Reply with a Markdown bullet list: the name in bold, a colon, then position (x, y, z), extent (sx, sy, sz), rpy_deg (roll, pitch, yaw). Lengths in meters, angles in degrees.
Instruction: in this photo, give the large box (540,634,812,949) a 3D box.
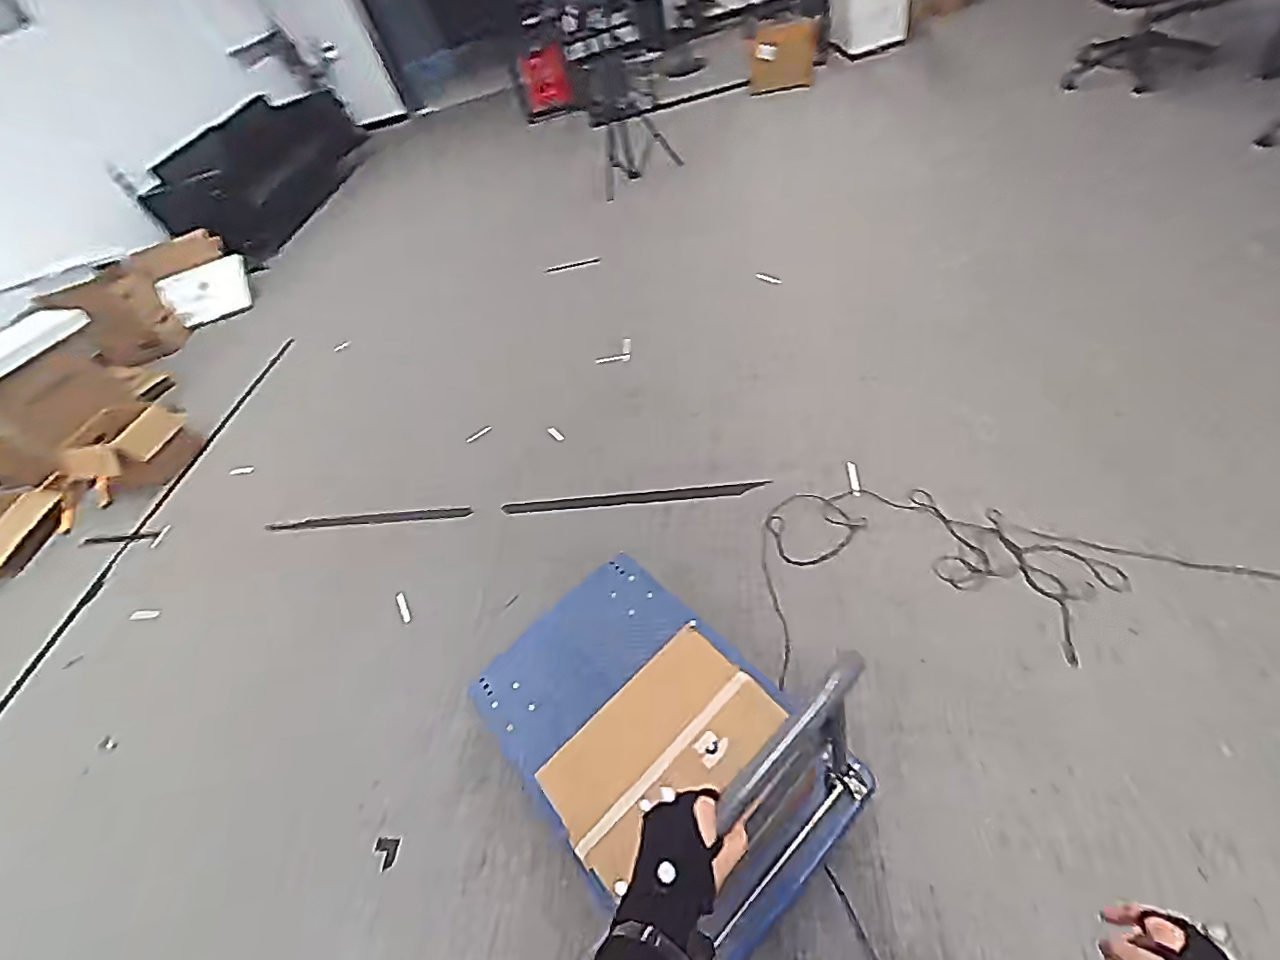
- **large box**: position (0.088, 0.598, 1.058), extent (0.408, 0.320, 0.320), rpy_deg (-40, 51, -17)
